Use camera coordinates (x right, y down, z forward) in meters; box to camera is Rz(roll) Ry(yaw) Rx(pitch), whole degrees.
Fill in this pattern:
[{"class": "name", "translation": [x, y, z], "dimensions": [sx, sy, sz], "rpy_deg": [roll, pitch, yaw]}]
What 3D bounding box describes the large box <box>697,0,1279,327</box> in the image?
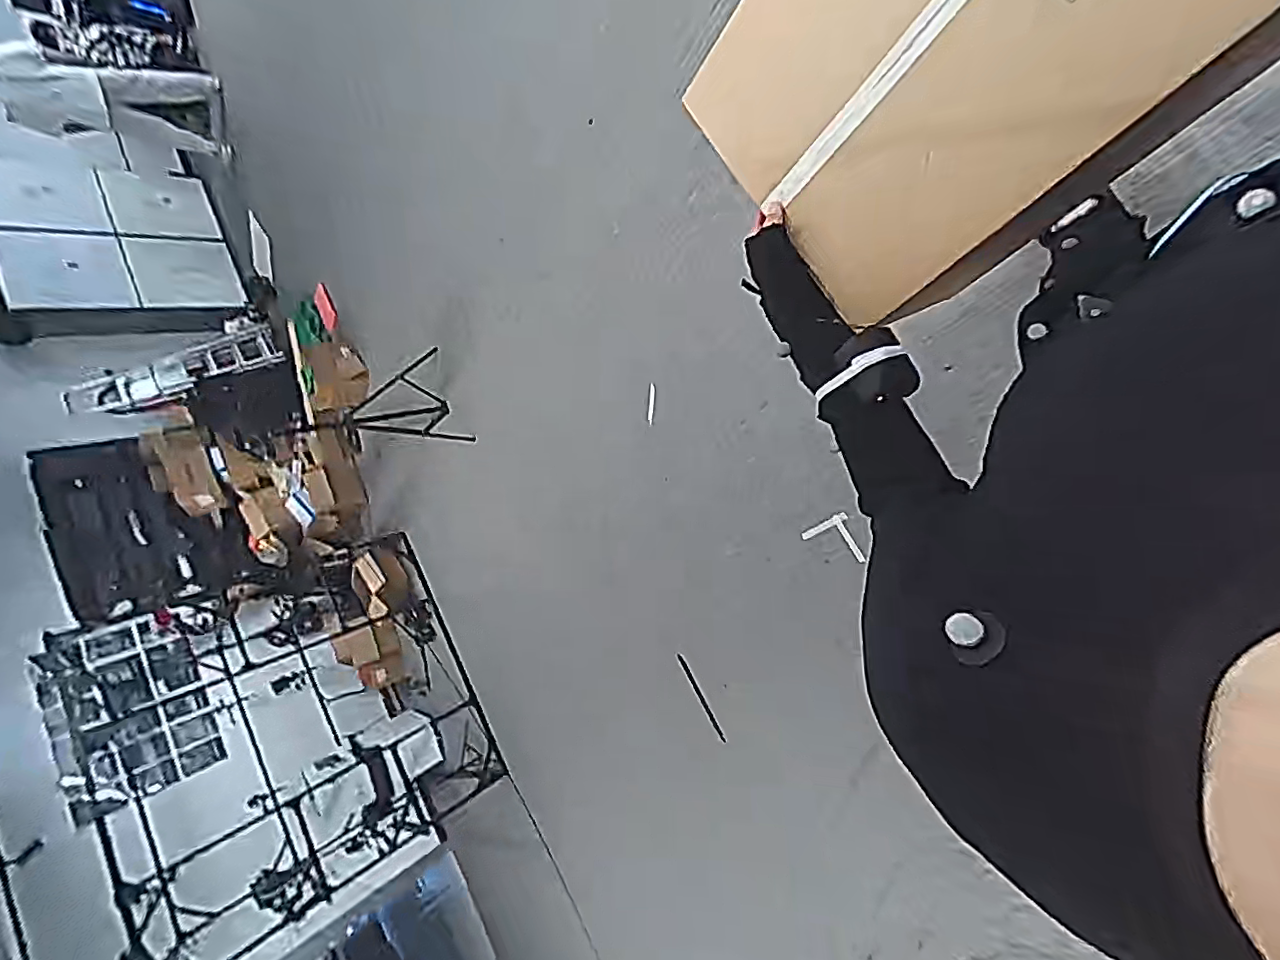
[{"class": "large box", "translation": [0.338, -0.409, 0.511], "dimensions": [0.320, 0.320, 0.408], "rpy_deg": [56, 136, 7]}]
